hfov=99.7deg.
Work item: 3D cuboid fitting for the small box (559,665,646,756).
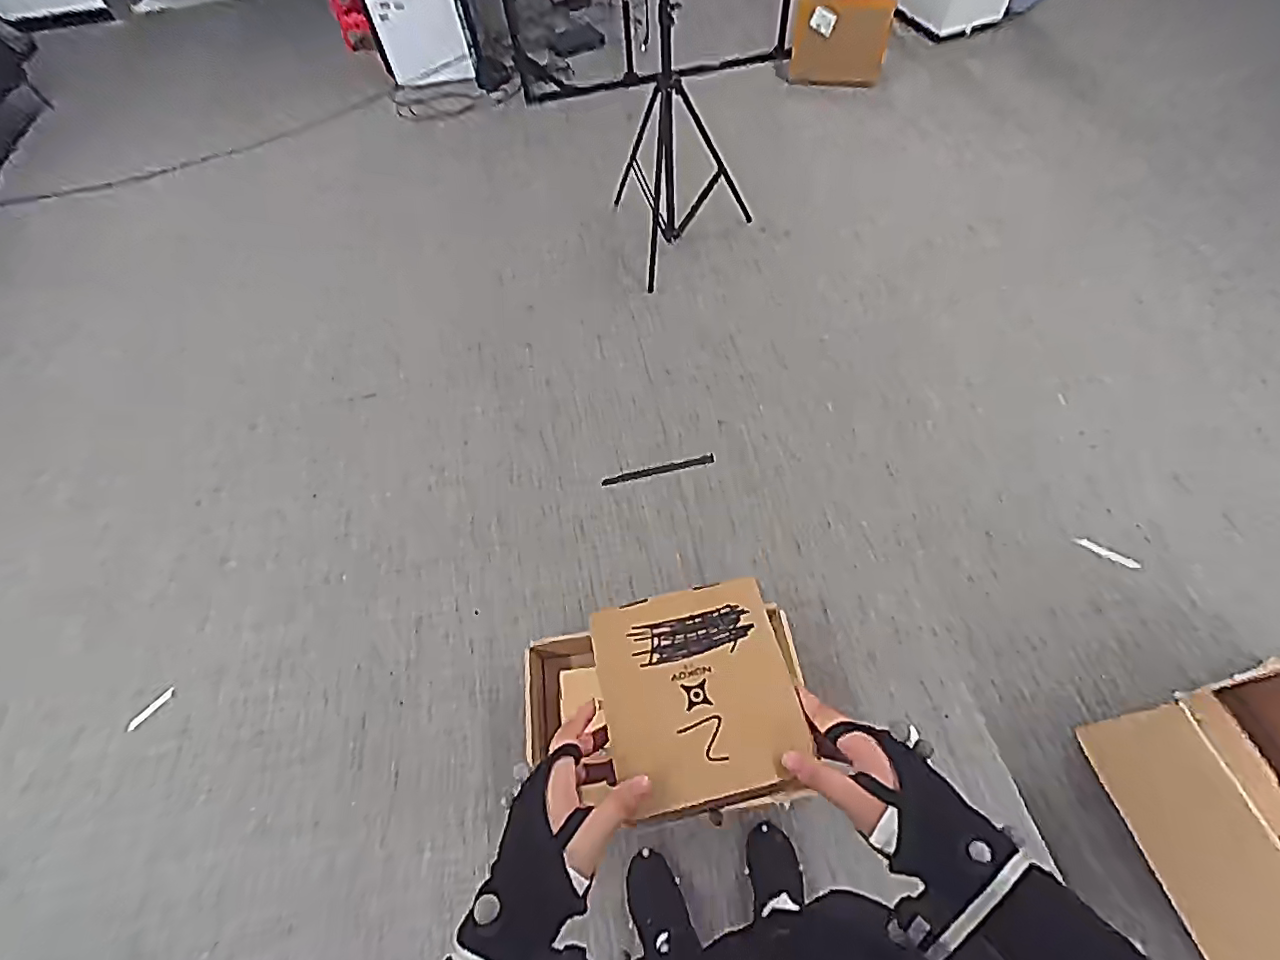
[{"bbox_3d":[-0.084,0.536,1.248,0.179,0.176,0.168,-7,61,-2],"label":"small box"}]
